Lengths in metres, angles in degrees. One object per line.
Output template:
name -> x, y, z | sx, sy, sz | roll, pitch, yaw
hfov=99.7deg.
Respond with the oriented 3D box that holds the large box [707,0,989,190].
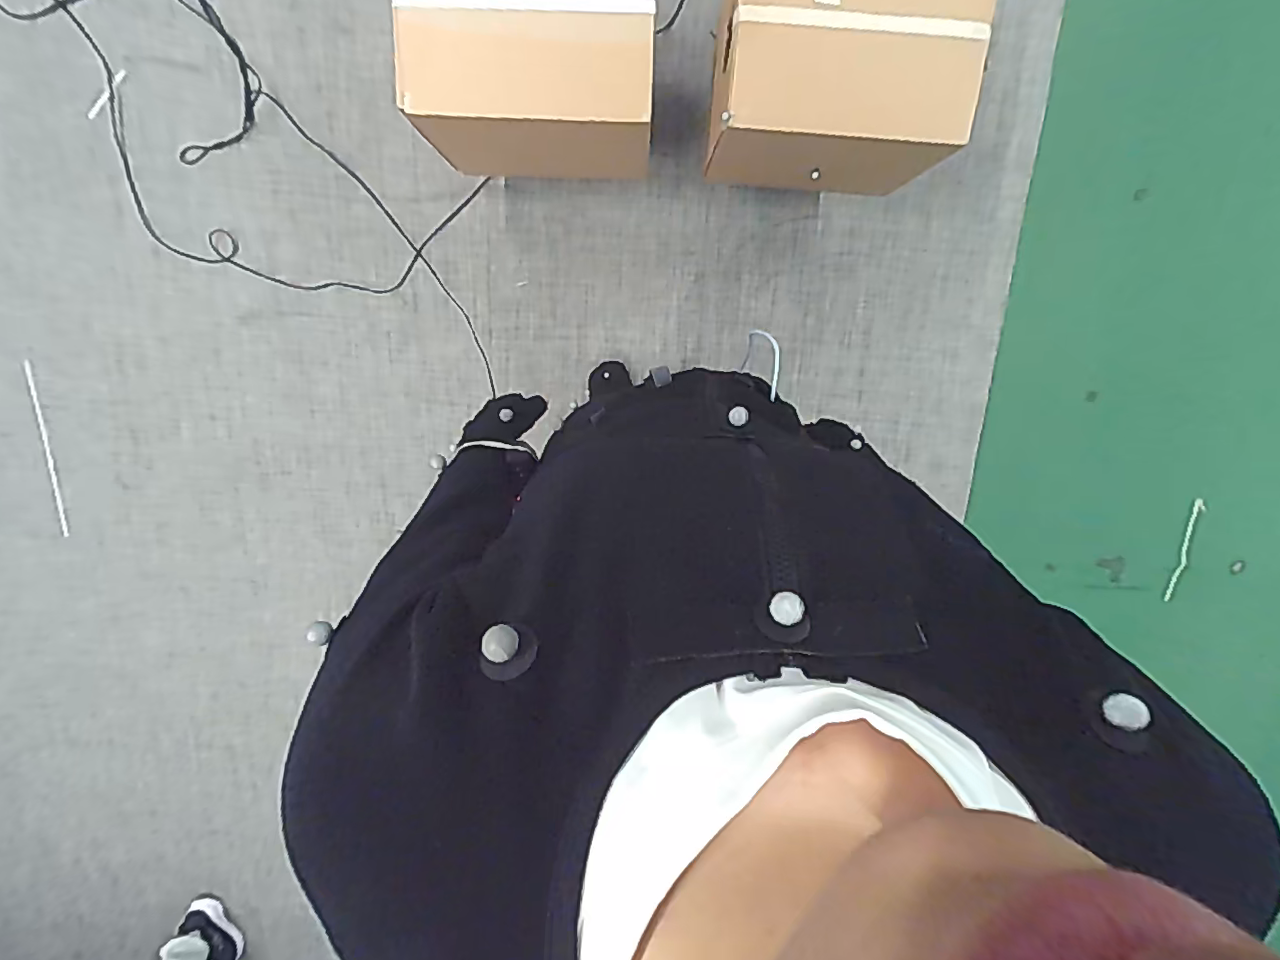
large box -> 0.354, -0.759, 1.011 | 0.408, 0.320, 0.320 | 4, 103, -1
